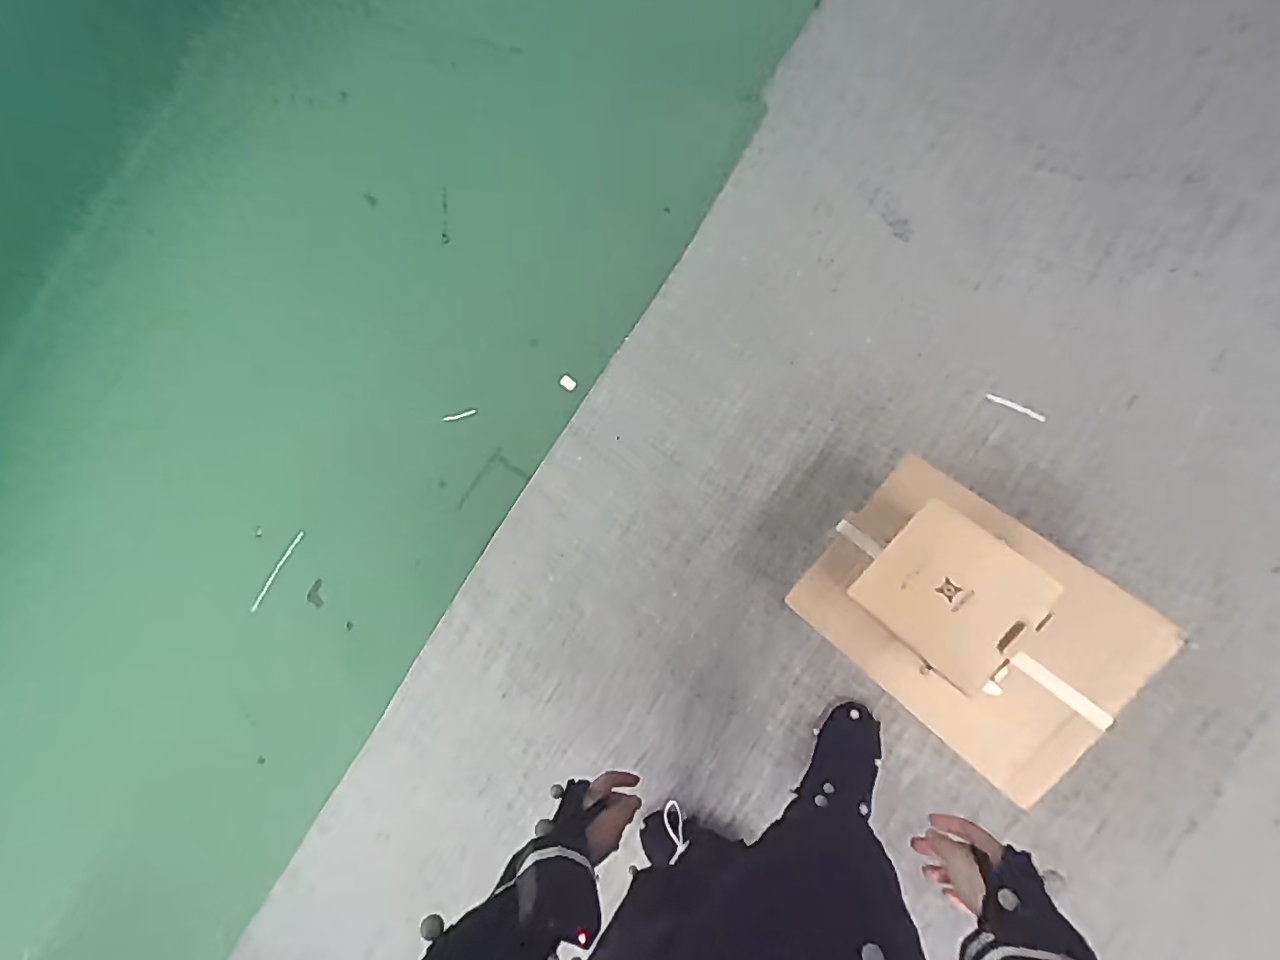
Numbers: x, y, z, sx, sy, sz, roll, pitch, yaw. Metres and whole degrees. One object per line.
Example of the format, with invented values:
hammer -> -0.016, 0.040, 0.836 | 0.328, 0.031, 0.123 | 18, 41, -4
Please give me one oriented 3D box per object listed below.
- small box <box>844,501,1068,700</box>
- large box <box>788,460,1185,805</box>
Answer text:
small box -> 0.396, 0.155, 0.712 | 0.179, 0.176, 0.168 | 42, 93, 26
large box -> 0.517, 0.228, 0.914 | 0.408, 0.320, 0.320 | 41, 95, 24
